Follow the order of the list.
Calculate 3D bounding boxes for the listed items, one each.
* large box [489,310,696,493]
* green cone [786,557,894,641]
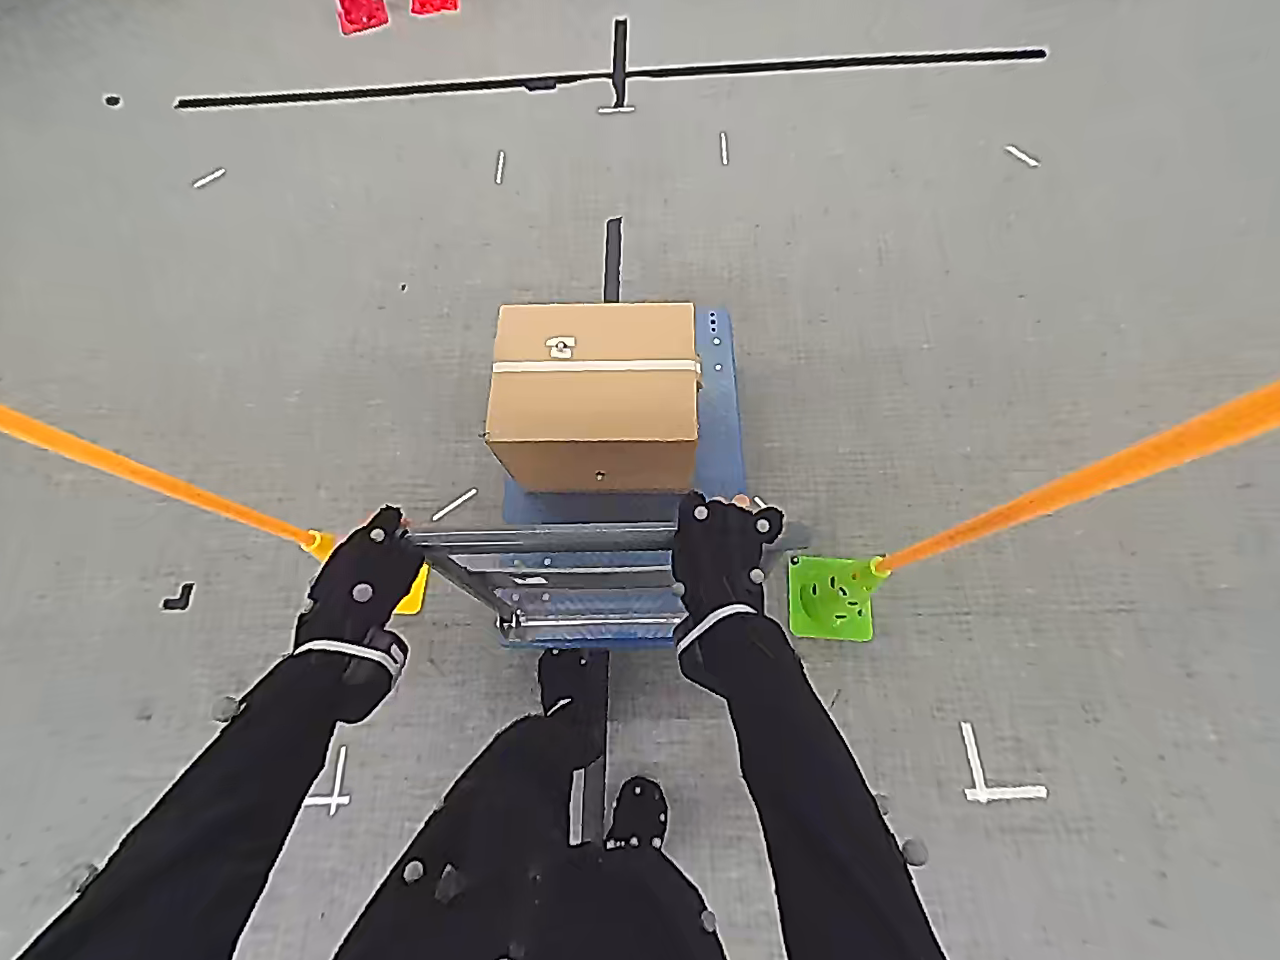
[{"bbox_3d":[-0.082,-0.159,1.223,0.408,0.320,0.320,0,70,4],"label":"large box"},{"bbox_3d":[0.466,0.236,1.199,0.202,0.368,0.200,3,69,3],"label":"green cone"}]
